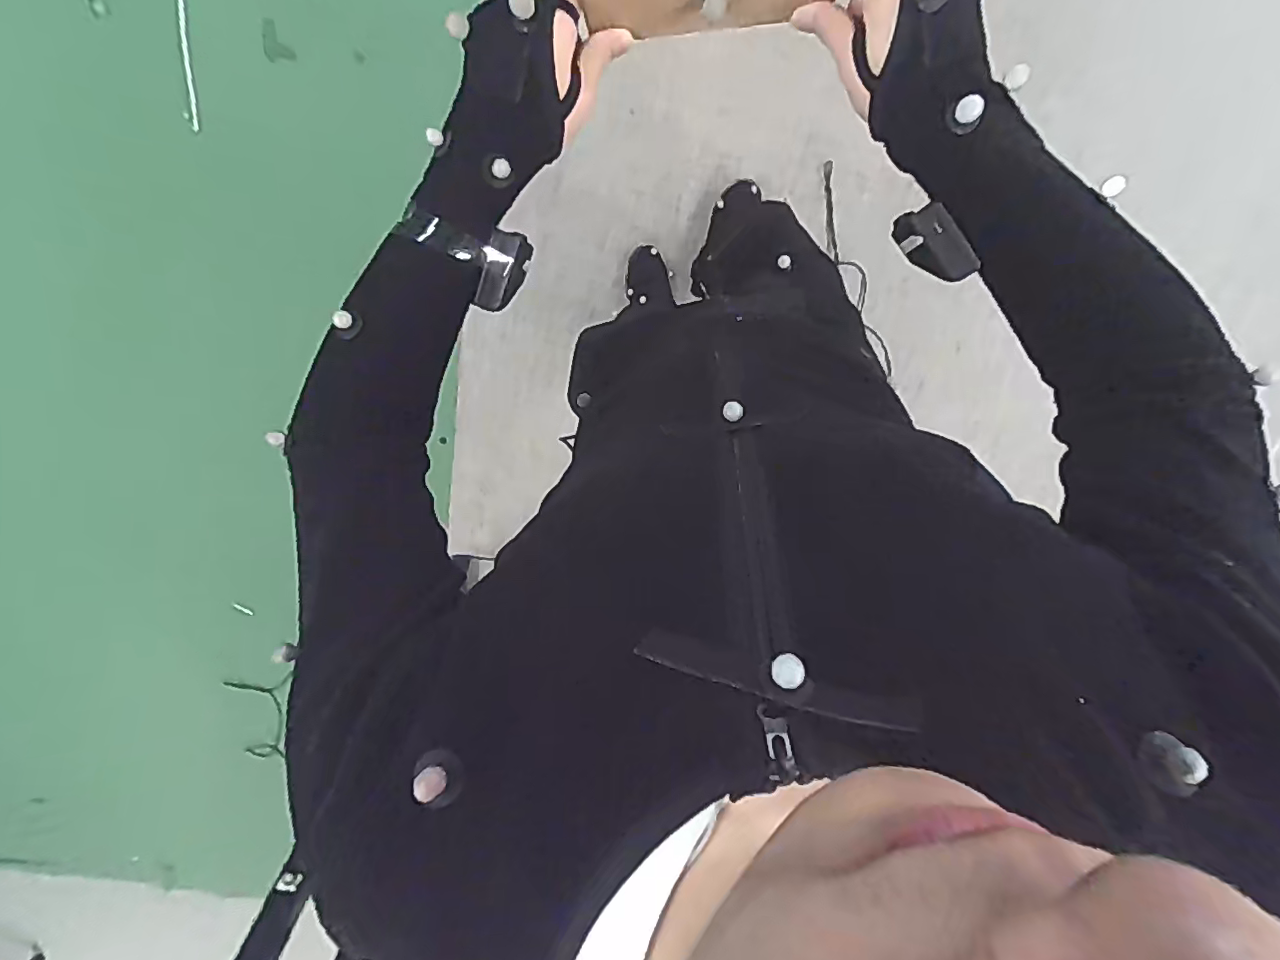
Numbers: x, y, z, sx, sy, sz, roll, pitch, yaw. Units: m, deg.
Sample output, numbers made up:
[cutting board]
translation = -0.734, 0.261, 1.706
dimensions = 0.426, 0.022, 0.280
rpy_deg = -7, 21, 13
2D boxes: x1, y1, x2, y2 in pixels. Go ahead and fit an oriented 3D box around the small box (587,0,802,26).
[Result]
[small box]
translation = 0.043, -0.398, 0.296
dimensions = 0.179, 0.176, 0.168
rpy_deg = -4, 97, 3
